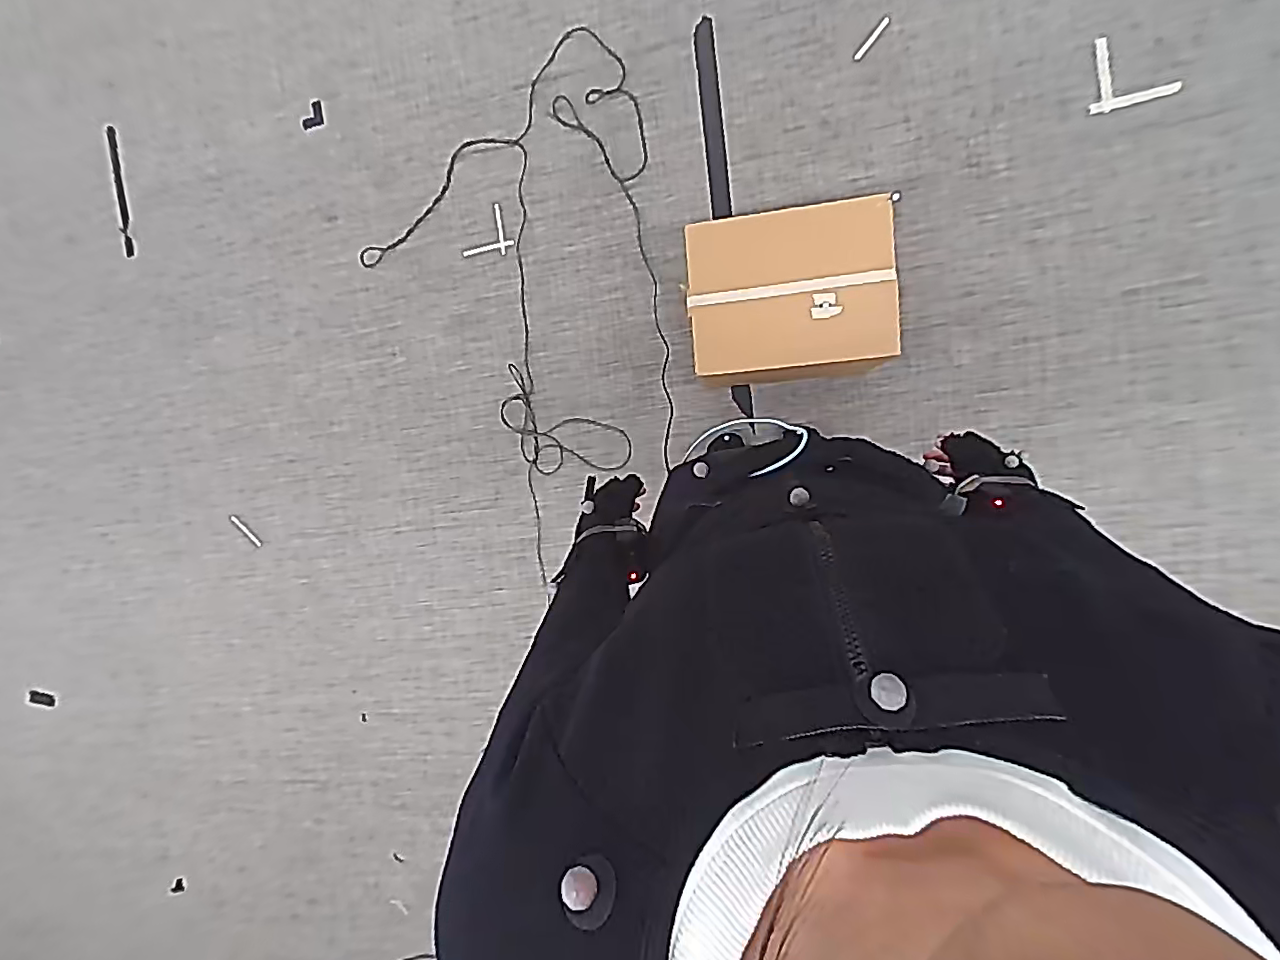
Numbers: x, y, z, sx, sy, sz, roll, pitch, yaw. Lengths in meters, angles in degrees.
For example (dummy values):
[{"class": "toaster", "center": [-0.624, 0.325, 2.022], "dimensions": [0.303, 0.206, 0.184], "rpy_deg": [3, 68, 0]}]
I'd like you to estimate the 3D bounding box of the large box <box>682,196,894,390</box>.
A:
[{"class": "large box", "center": [0.319, -0.397, 1.245], "dimensions": [0.408, 0.320, 0.320], "rpy_deg": [-5, 94, 10]}]
